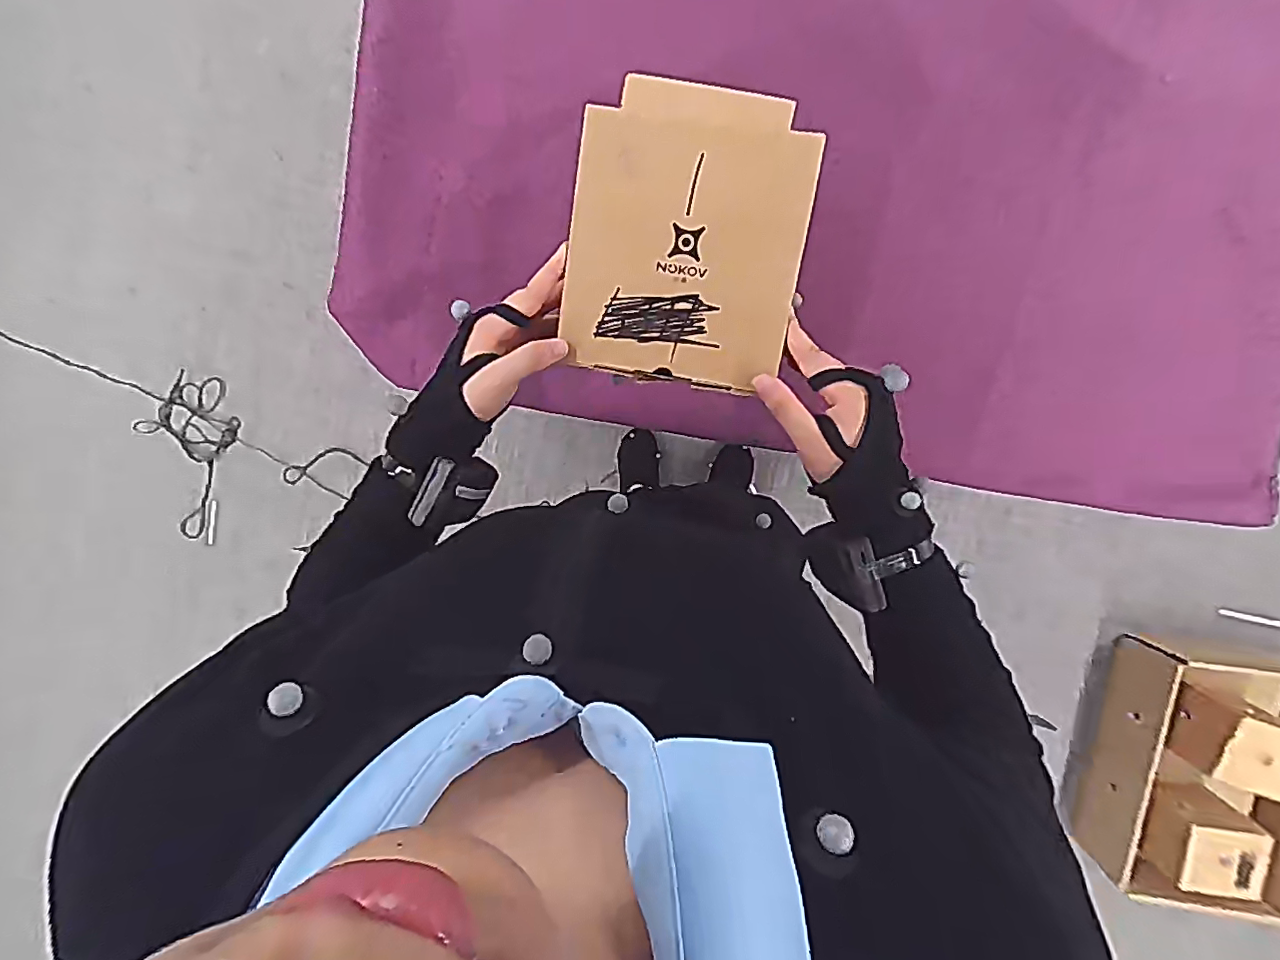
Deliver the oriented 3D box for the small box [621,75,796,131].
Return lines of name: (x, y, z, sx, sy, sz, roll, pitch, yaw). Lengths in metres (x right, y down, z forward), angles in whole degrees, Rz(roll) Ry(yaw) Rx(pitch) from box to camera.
small box: (0.061, -0.319, 0.627, 0.179, 0.176, 0.168, 13, 97, 4)

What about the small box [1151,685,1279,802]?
small box: (1.416, 0.624, 1.302, 0.179, 0.176, 0.168, 17, 100, 3)

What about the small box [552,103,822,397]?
small box: (0.036, -0.173, 0.456, 0.168, 0.176, 0.179, 10, 101, 4)
